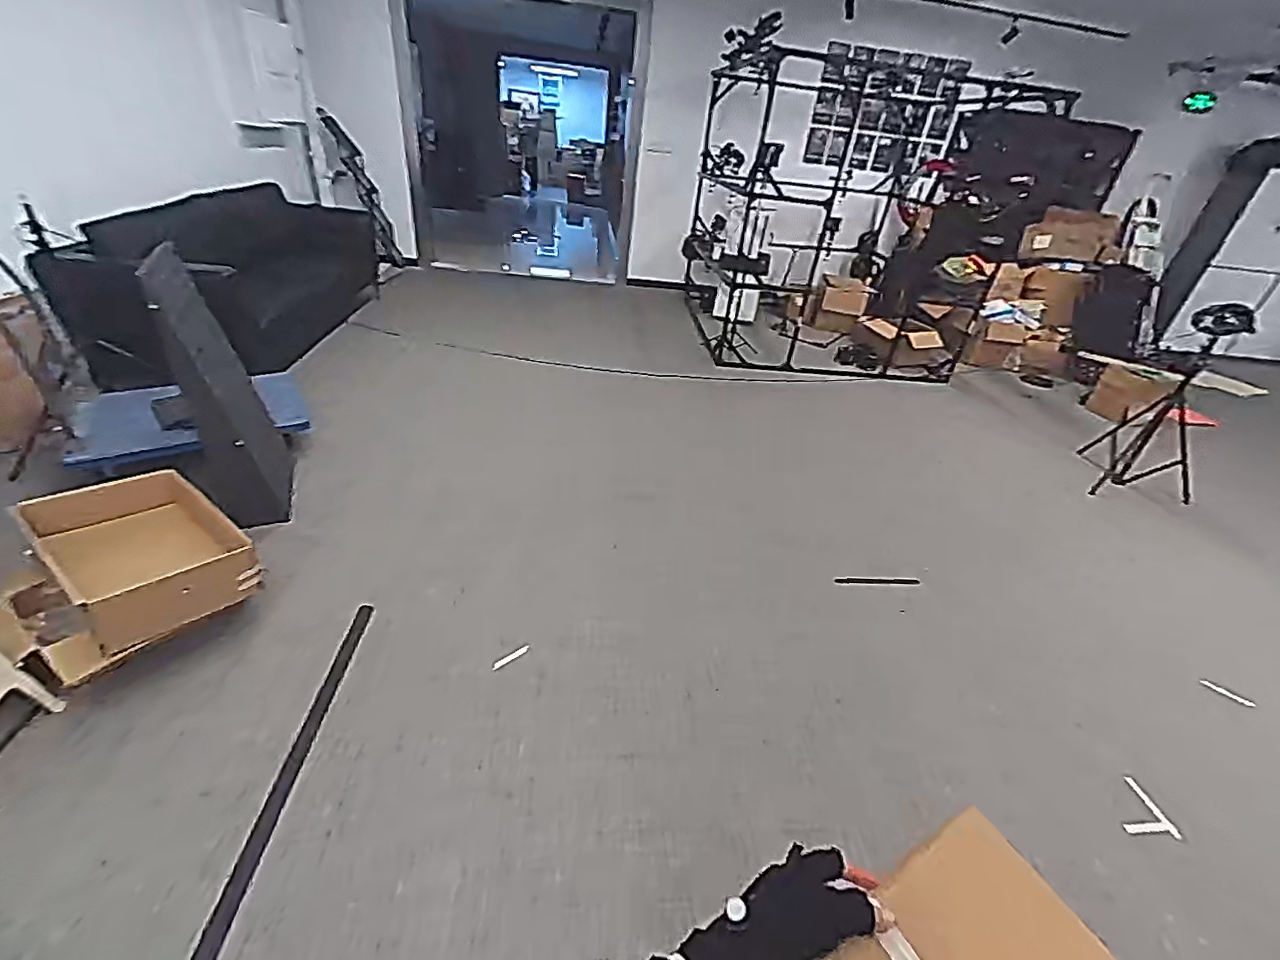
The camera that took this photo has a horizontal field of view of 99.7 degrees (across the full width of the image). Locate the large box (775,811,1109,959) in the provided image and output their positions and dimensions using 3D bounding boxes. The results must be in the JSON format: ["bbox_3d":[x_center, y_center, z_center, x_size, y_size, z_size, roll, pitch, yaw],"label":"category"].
[{"bbox_3d":[0.292,0.603,0.460,0.320,0.320,0.408,-21,48,-24],"label":"large box"}]
